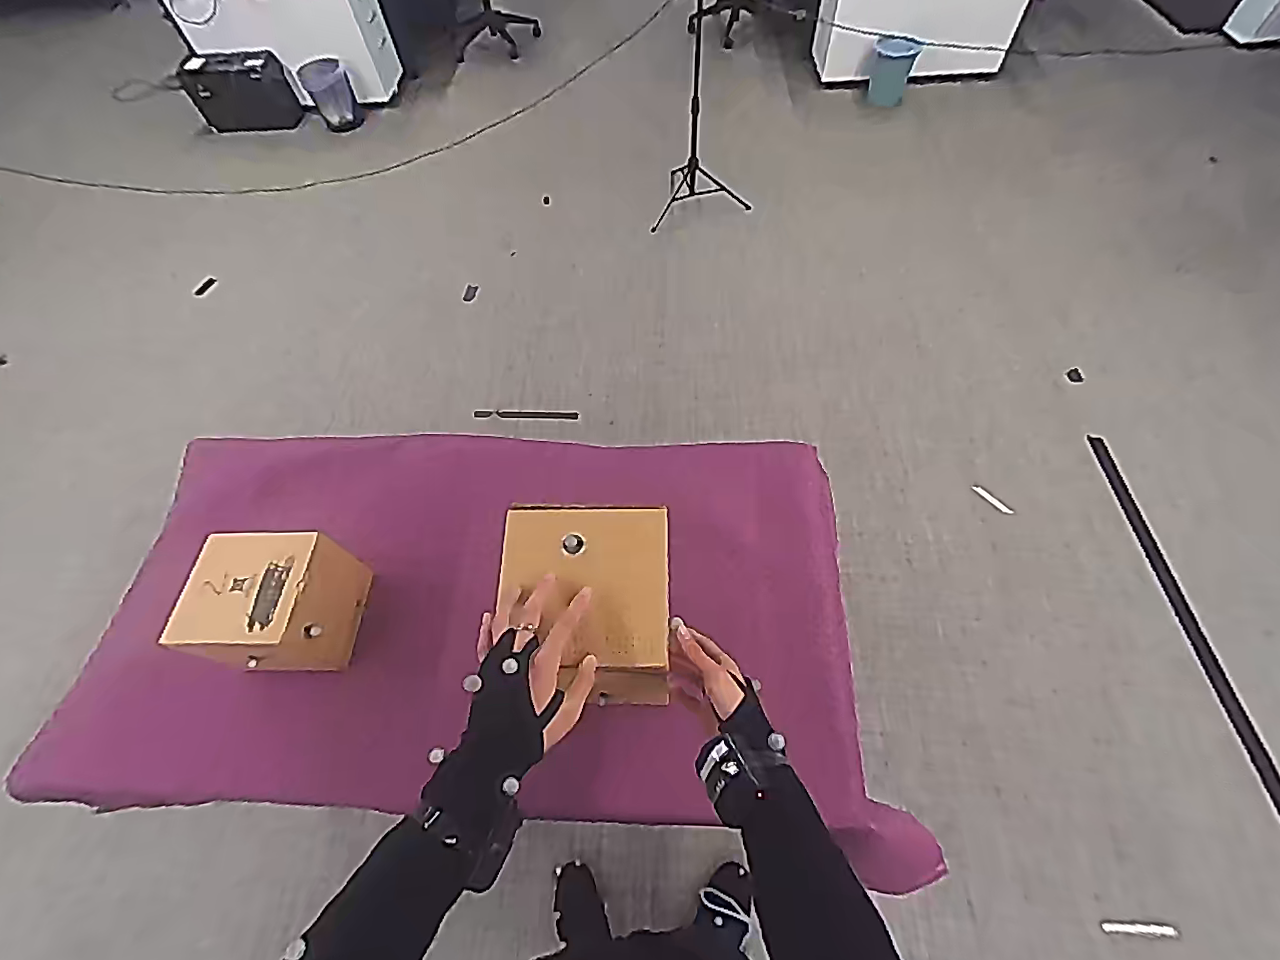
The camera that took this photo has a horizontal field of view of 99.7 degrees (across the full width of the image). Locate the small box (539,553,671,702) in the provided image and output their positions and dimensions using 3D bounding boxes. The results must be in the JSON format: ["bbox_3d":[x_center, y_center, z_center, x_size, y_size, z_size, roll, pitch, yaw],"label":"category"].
[{"bbox_3d":[-0.040,0.220,0.789,0.168,0.176,0.179,1,59,4],"label":"small box"}]
